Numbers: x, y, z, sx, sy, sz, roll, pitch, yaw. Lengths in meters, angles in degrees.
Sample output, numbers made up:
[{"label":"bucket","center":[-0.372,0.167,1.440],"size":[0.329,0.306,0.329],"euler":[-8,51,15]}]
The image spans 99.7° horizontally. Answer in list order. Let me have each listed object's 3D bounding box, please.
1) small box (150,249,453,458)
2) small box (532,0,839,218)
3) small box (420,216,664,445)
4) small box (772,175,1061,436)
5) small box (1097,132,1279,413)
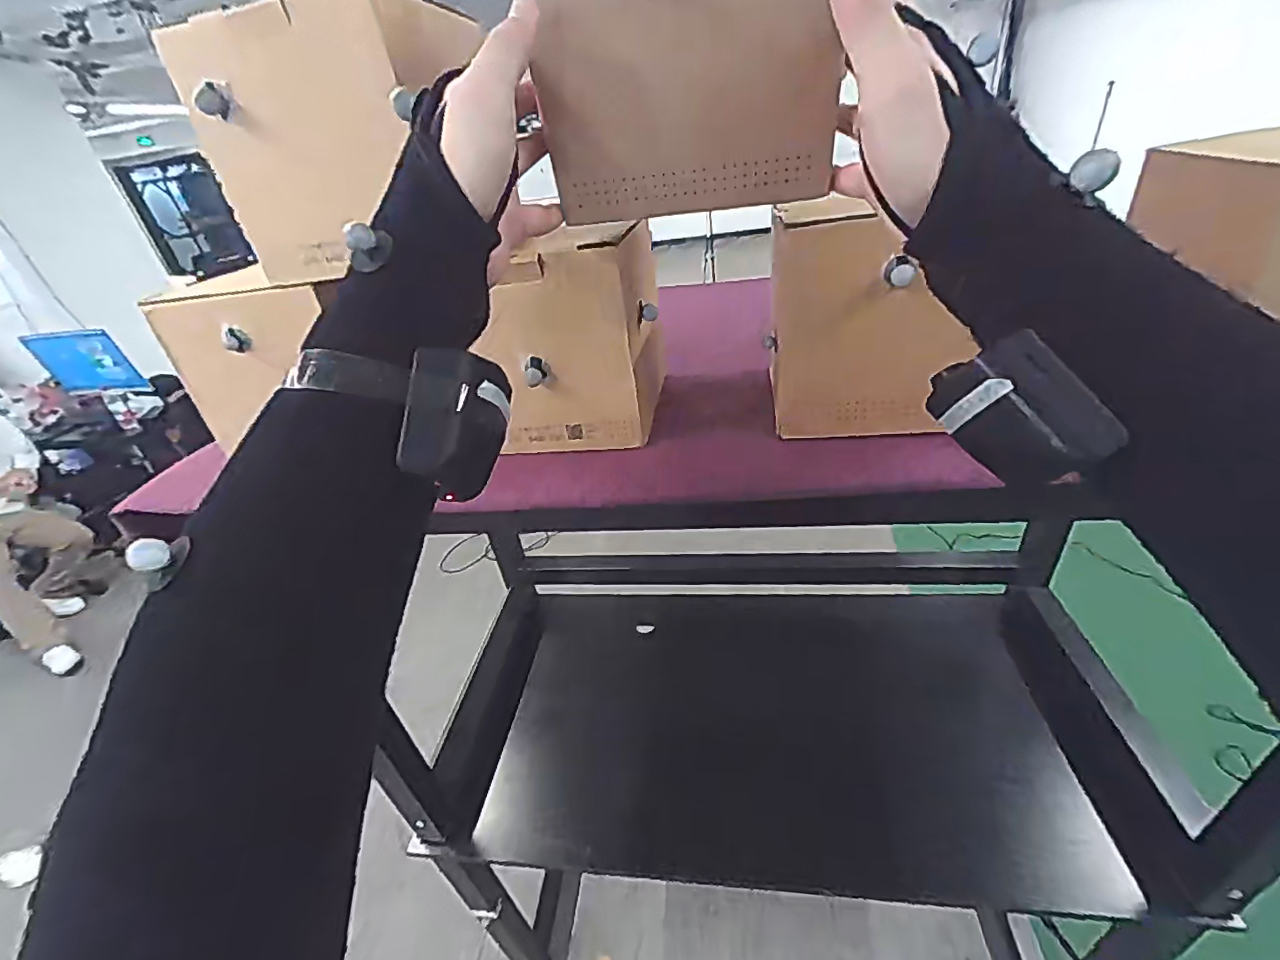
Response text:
[{"label":"small box","center":[-0.328,-0.132,0.566],"size":[0.179,0.176,0.168],"euler":[-2,32,10]},{"label":"small box","center":[0.032,-0.293,0.365],"size":[0.179,0.176,0.168],"euler":[-2,46,8]},{"label":"small box","center":[-0.071,-0.140,0.518],"size":[0.168,0.176,0.179],"euler":[-2,32,10]},{"label":"small box","center":[0.207,-0.149,0.465],"size":[0.179,0.176,0.168],"euler":[-3,31,12]},{"label":"small box","center":[0.487,-0.157,0.403],"size":[0.179,0.176,0.168],"euler":[0,34,15]}]
